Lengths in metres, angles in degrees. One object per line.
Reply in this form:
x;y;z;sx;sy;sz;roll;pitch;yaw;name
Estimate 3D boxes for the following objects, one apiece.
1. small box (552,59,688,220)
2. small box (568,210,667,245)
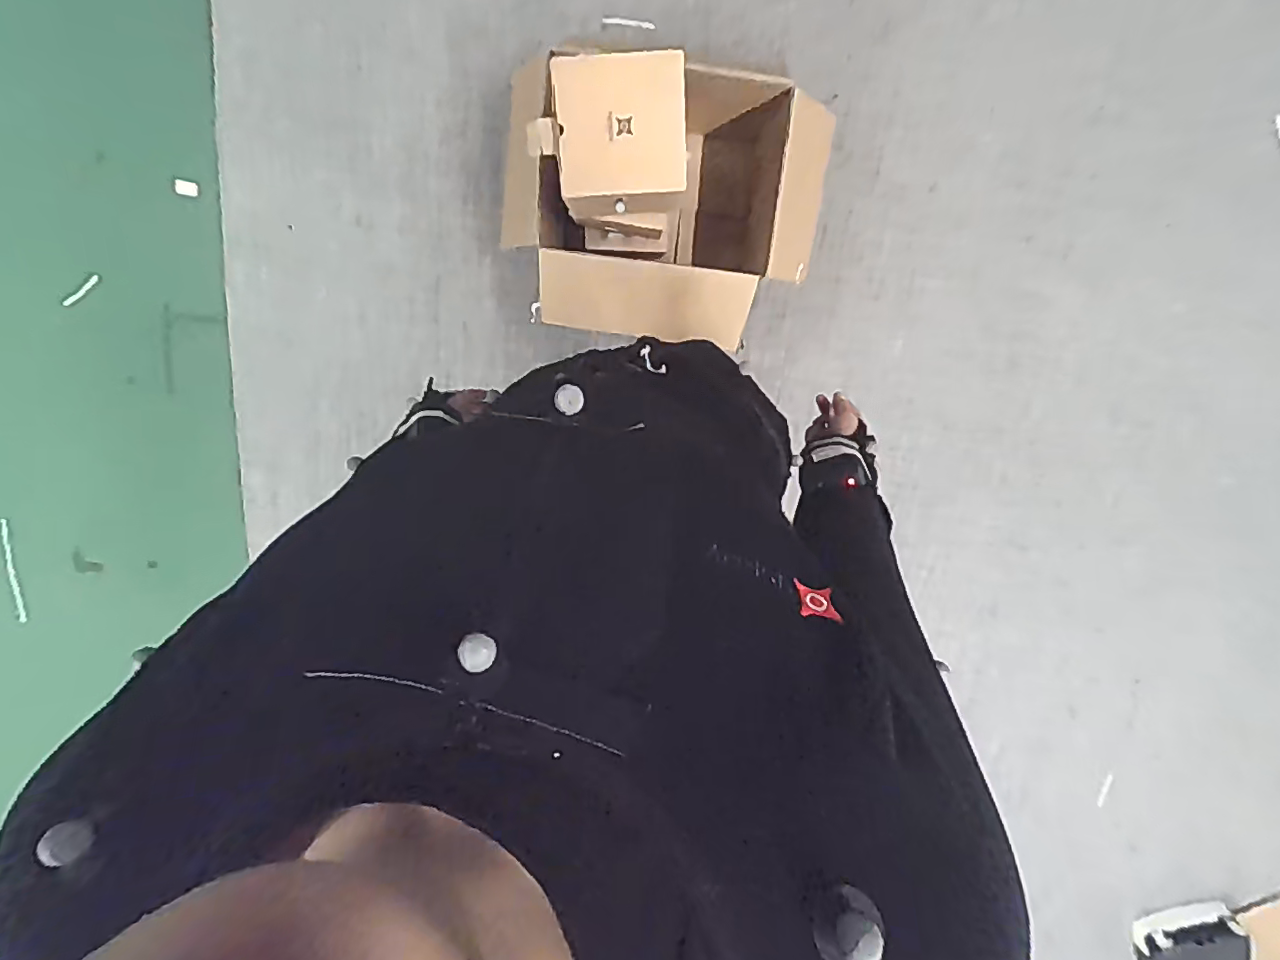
-0.026;-0.488;0.798;0.179;0.176;0.168;-3;108;0;small box
-0.030;-0.528;0.955;0.168;0.176;0.179;9;108;-5;small box
